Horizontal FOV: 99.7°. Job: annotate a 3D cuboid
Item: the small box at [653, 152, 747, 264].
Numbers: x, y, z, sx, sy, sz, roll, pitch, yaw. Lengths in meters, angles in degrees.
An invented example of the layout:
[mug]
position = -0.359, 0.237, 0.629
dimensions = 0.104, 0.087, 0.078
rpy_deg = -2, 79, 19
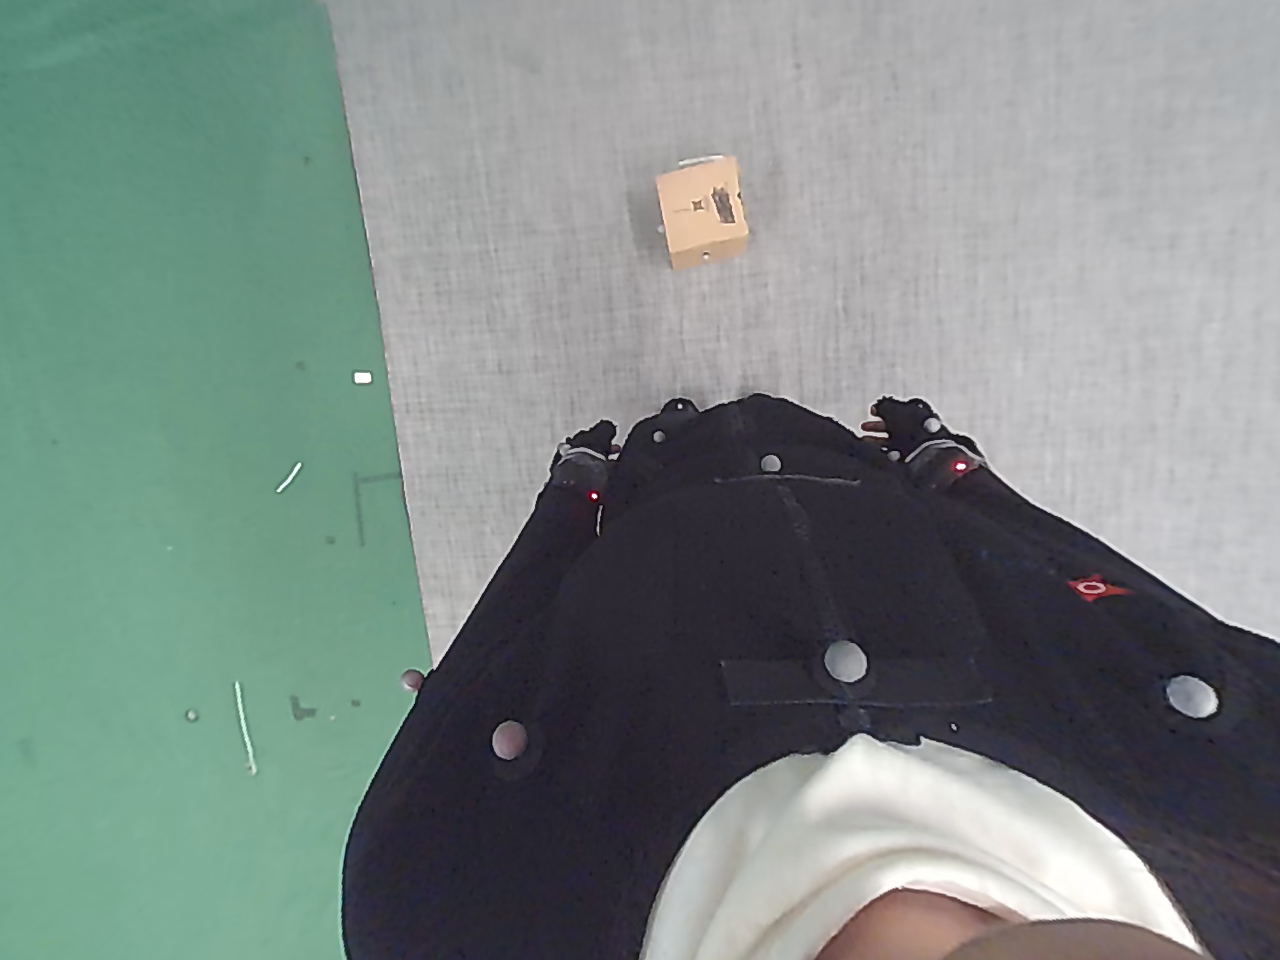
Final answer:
[small box]
position = 0.135, -0.619, 1.251
dimensions = 0.179, 0.176, 0.168
rpy_deg = -14, 98, 7
